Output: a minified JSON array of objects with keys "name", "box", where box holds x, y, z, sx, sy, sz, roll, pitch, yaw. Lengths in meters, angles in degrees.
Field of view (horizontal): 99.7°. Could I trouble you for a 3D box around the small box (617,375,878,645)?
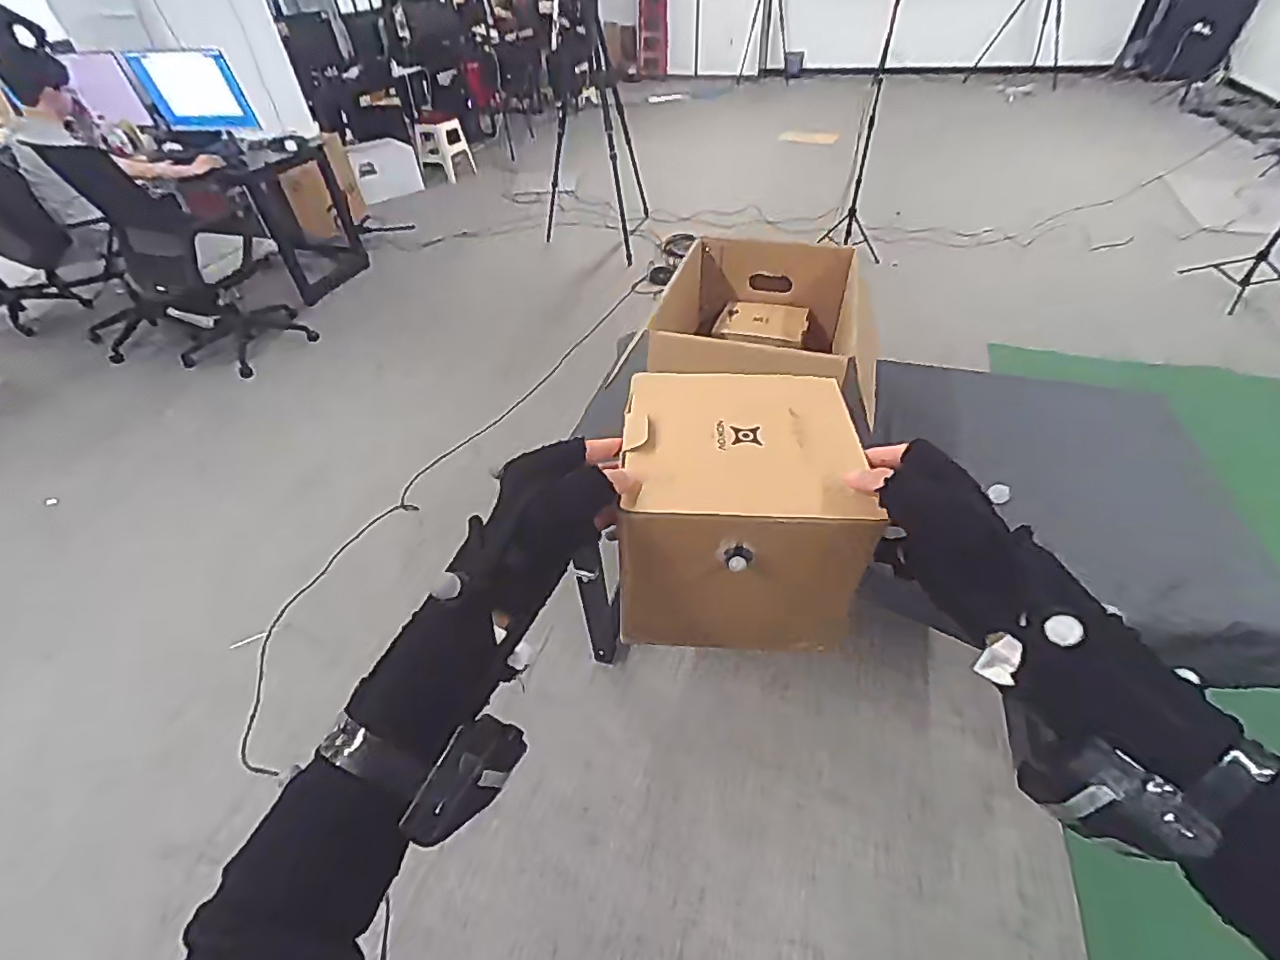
[{"name":"small box","box":[0.075,0.027,0.468,0.179,0.176,0.168,3,44,1]}]
